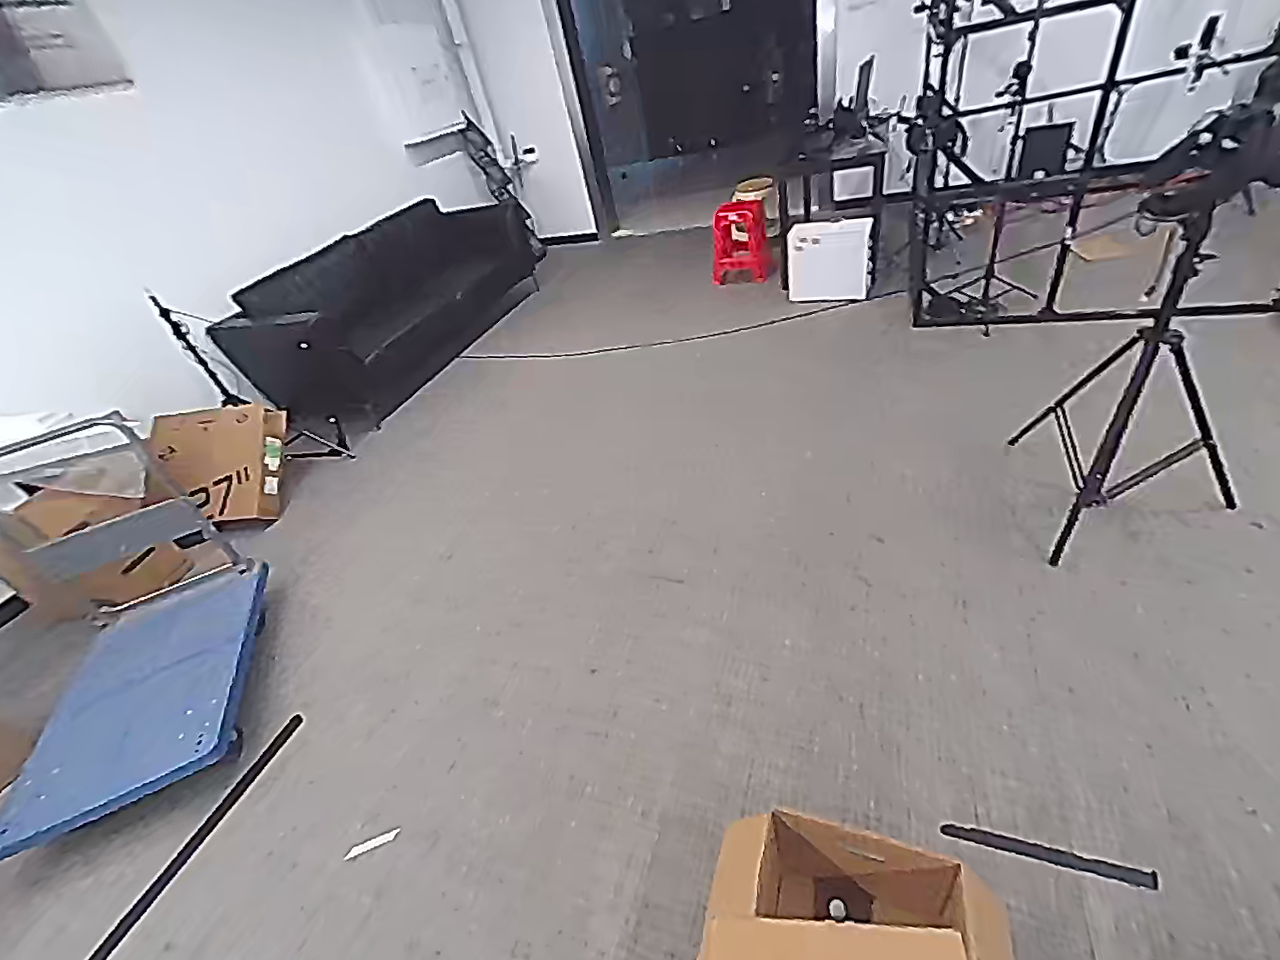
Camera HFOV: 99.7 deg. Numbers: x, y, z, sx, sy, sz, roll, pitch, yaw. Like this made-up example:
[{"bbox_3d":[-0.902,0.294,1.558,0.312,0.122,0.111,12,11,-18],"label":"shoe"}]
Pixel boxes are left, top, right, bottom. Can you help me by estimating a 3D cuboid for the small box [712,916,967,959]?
[{"bbox_3d":[0.144,0.434,0.399,0.179,0.176,0.168,-3,49,9],"label":"small box"}]
